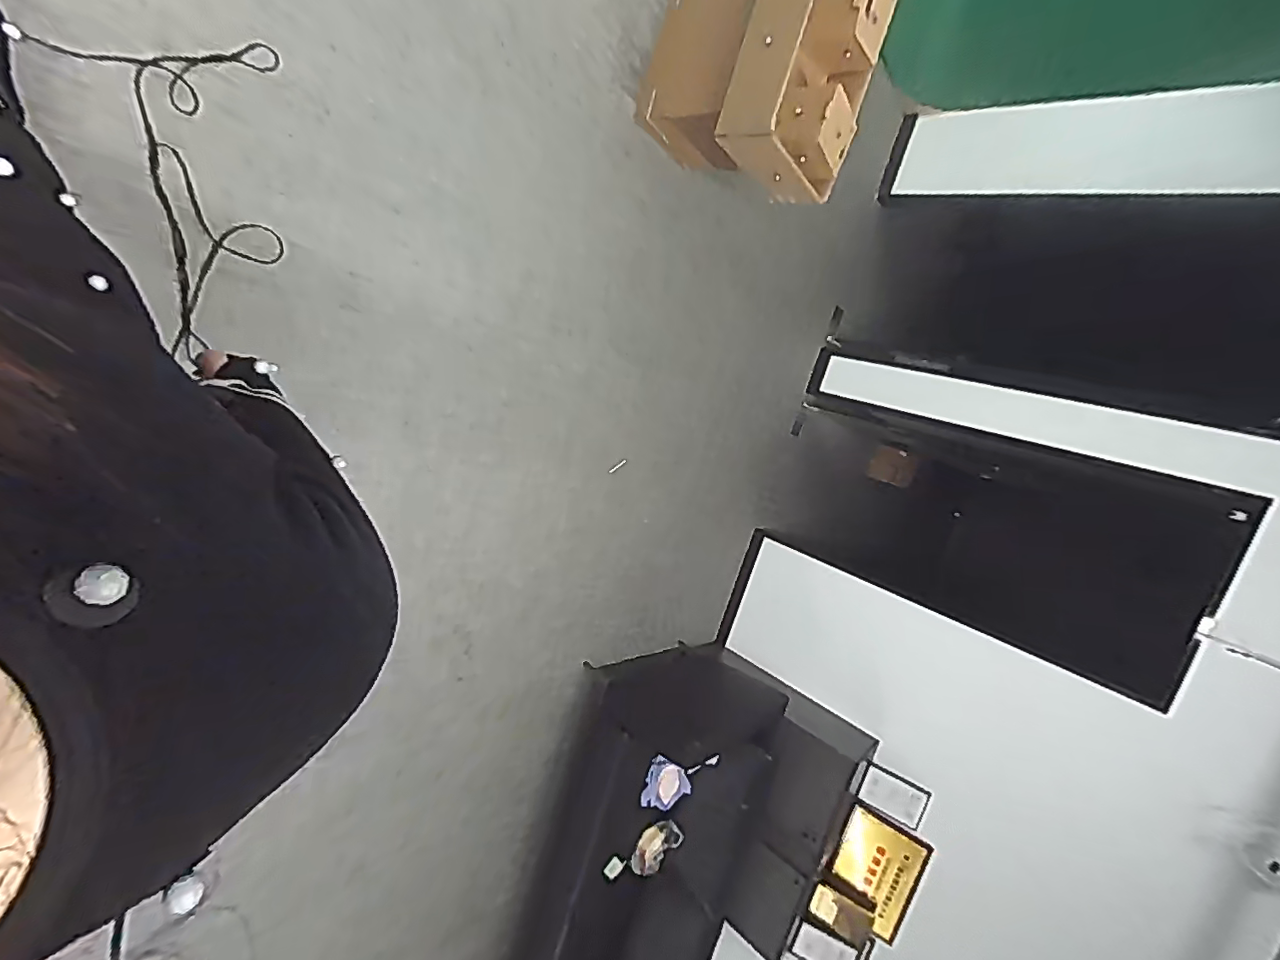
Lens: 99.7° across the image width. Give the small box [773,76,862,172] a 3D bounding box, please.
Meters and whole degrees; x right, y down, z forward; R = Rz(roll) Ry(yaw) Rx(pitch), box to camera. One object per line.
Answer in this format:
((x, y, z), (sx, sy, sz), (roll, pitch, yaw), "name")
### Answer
((0.517, -1.028, 1.581), (0.179, 0.176, 0.168), (19, 95, -51), "small box")
